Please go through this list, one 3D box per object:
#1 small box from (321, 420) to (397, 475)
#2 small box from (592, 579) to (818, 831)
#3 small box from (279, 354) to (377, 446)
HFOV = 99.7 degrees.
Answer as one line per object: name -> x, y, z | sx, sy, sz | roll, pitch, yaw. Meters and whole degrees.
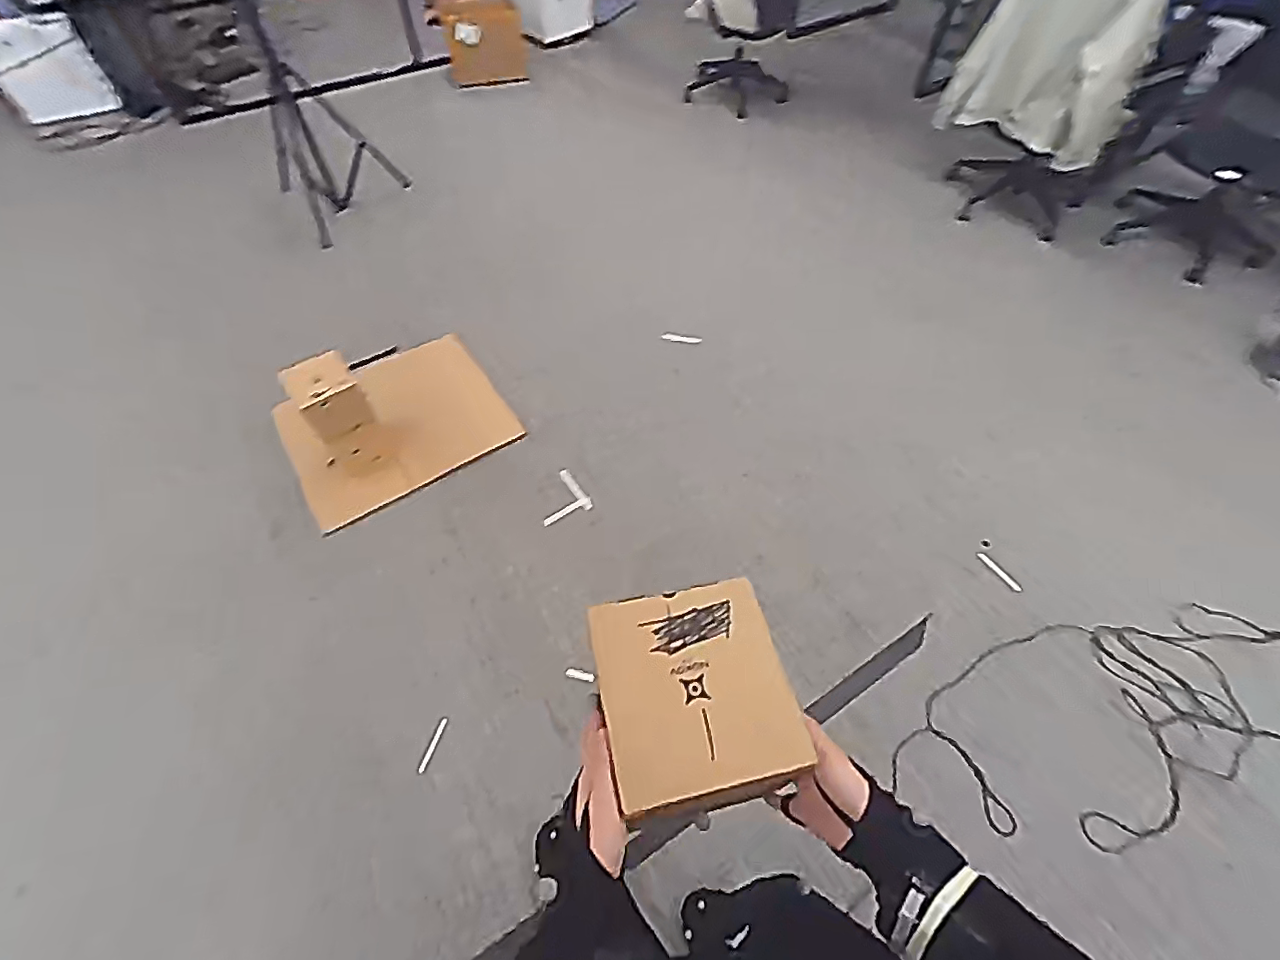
small box -> -0.912, -0.140, 1.731 | 0.168, 0.176, 0.179 | -32, 62, -20
small box -> 0.045, 0.224, 0.537 | 0.168, 0.176, 0.179 | -9, 54, -9
small box -> -0.913, -0.233, 1.595 | 0.168, 0.176, 0.179 | -33, 62, -20
